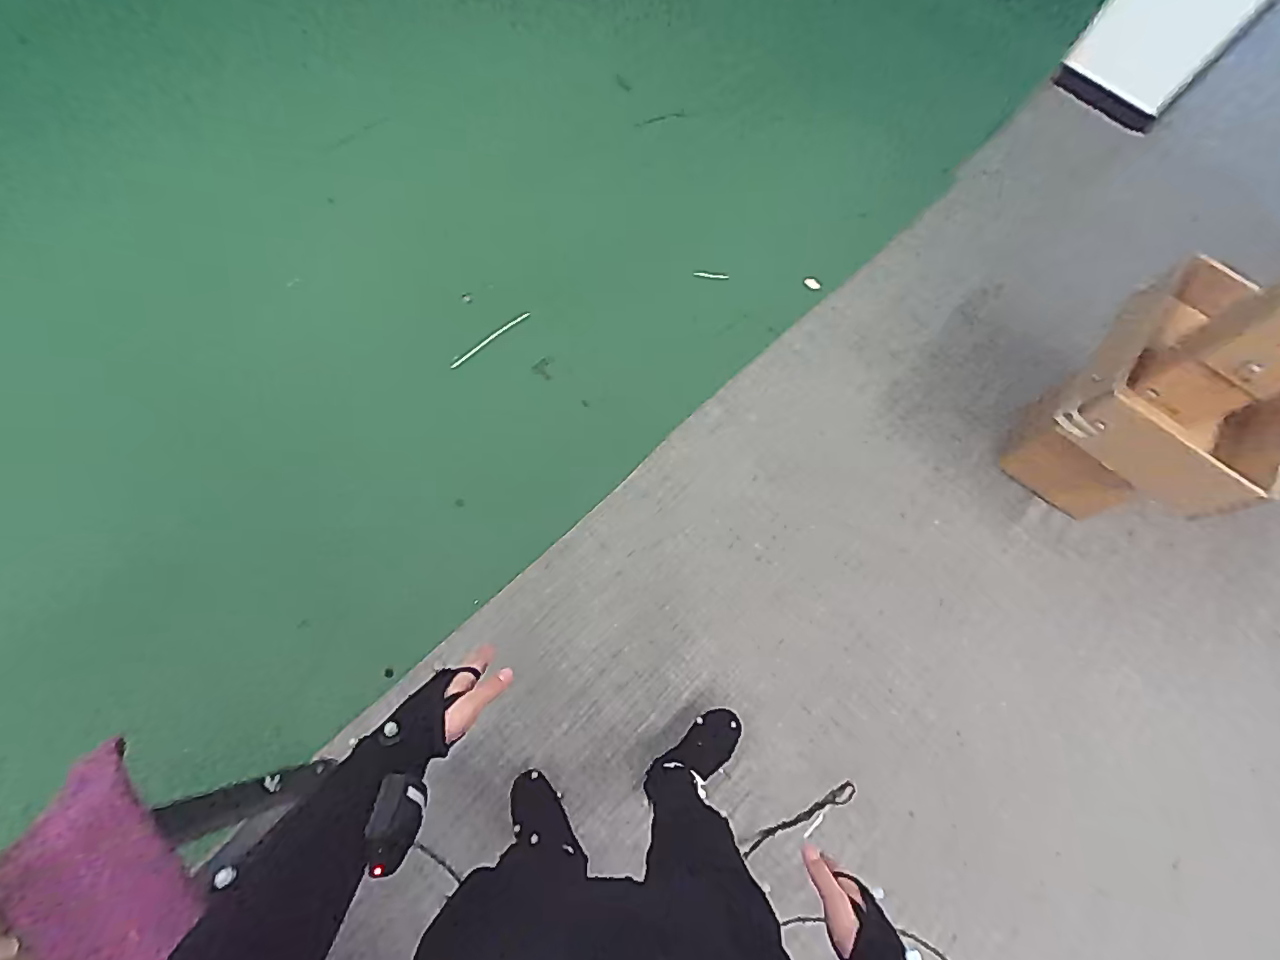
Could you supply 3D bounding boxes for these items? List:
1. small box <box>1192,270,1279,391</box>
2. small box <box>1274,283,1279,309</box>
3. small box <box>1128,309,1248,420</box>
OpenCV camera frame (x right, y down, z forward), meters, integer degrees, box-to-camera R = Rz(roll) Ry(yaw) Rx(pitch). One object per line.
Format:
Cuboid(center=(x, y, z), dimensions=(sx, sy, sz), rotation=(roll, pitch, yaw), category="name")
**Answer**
Cuboid(center=(1.408, -0.336, 1.207), dimensions=(0.168, 0.176, 0.179), rotation=(40, 70, 10), category="small box")
Cuboid(center=(1.426, -0.400, 1.059), dimensions=(0.168, 0.176, 0.179), rotation=(40, 70, 9), category="small box")
Cuboid(center=(1.398, -0.284, 1.363), dimensions=(0.168, 0.176, 0.179), rotation=(41, 69, 10), category="small box")
